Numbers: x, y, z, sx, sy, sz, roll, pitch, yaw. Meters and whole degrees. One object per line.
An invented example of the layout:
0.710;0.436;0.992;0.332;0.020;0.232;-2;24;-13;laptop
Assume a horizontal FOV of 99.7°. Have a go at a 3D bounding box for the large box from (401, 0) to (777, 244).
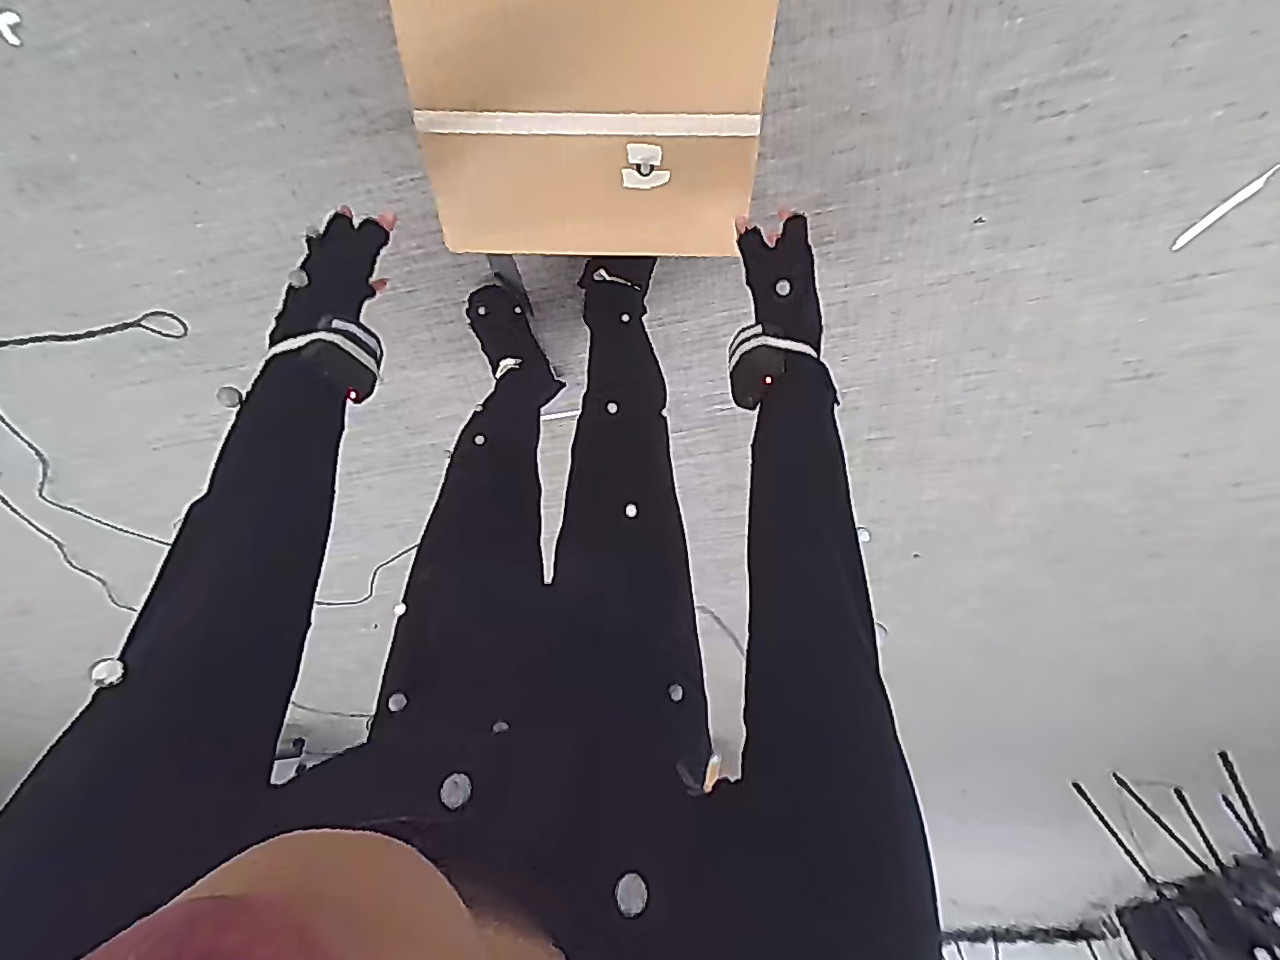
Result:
-0.056;-0.539;0.742;0.408;0.320;0.320;0;135;-1;large box
